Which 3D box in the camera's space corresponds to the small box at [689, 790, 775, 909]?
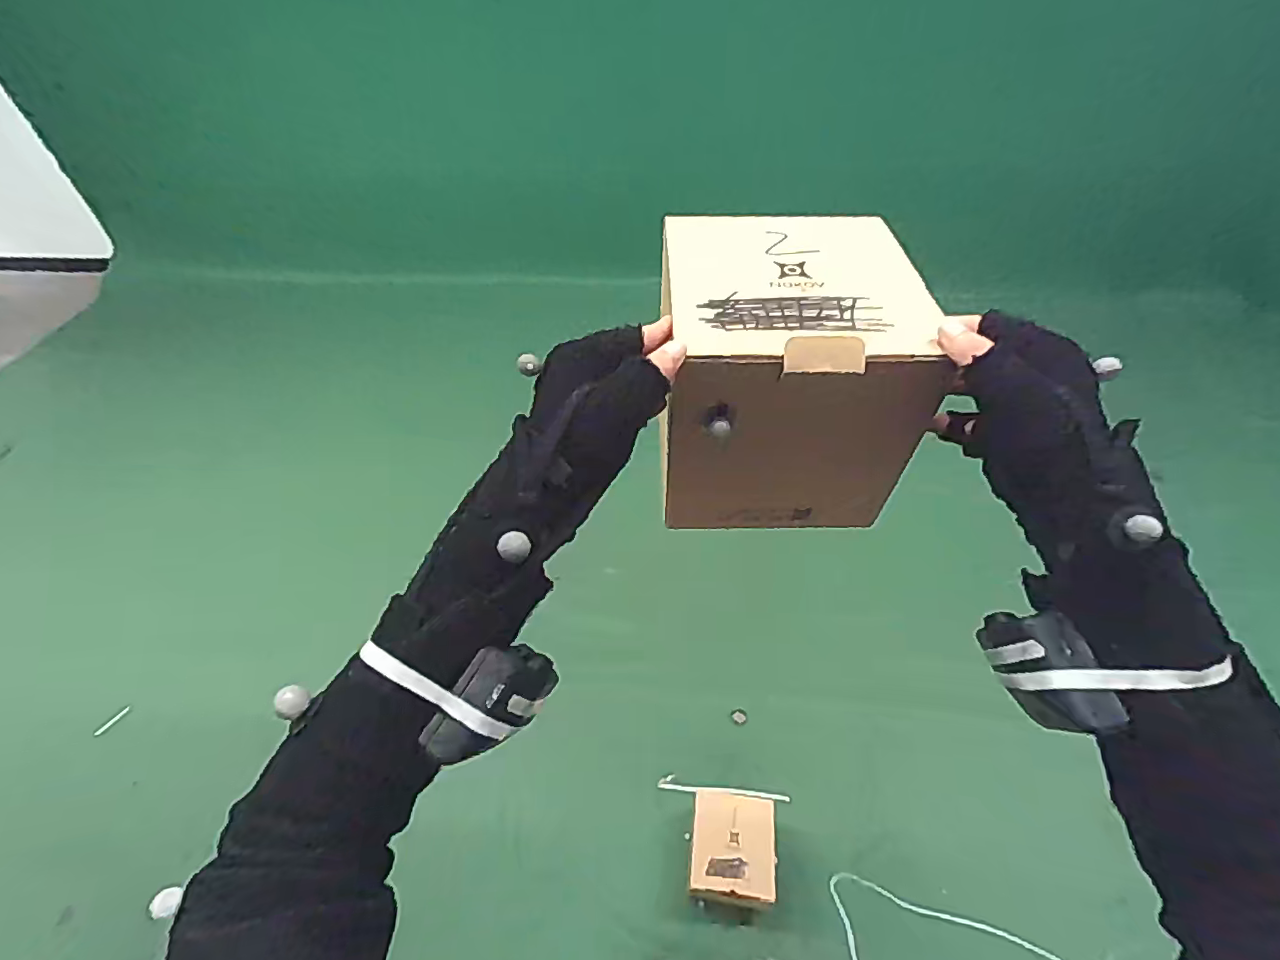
[{"bbox_3d":[0.195,0.793,1.157,0.168,0.176,0.179,5,47,6],"label":"small box"}]
